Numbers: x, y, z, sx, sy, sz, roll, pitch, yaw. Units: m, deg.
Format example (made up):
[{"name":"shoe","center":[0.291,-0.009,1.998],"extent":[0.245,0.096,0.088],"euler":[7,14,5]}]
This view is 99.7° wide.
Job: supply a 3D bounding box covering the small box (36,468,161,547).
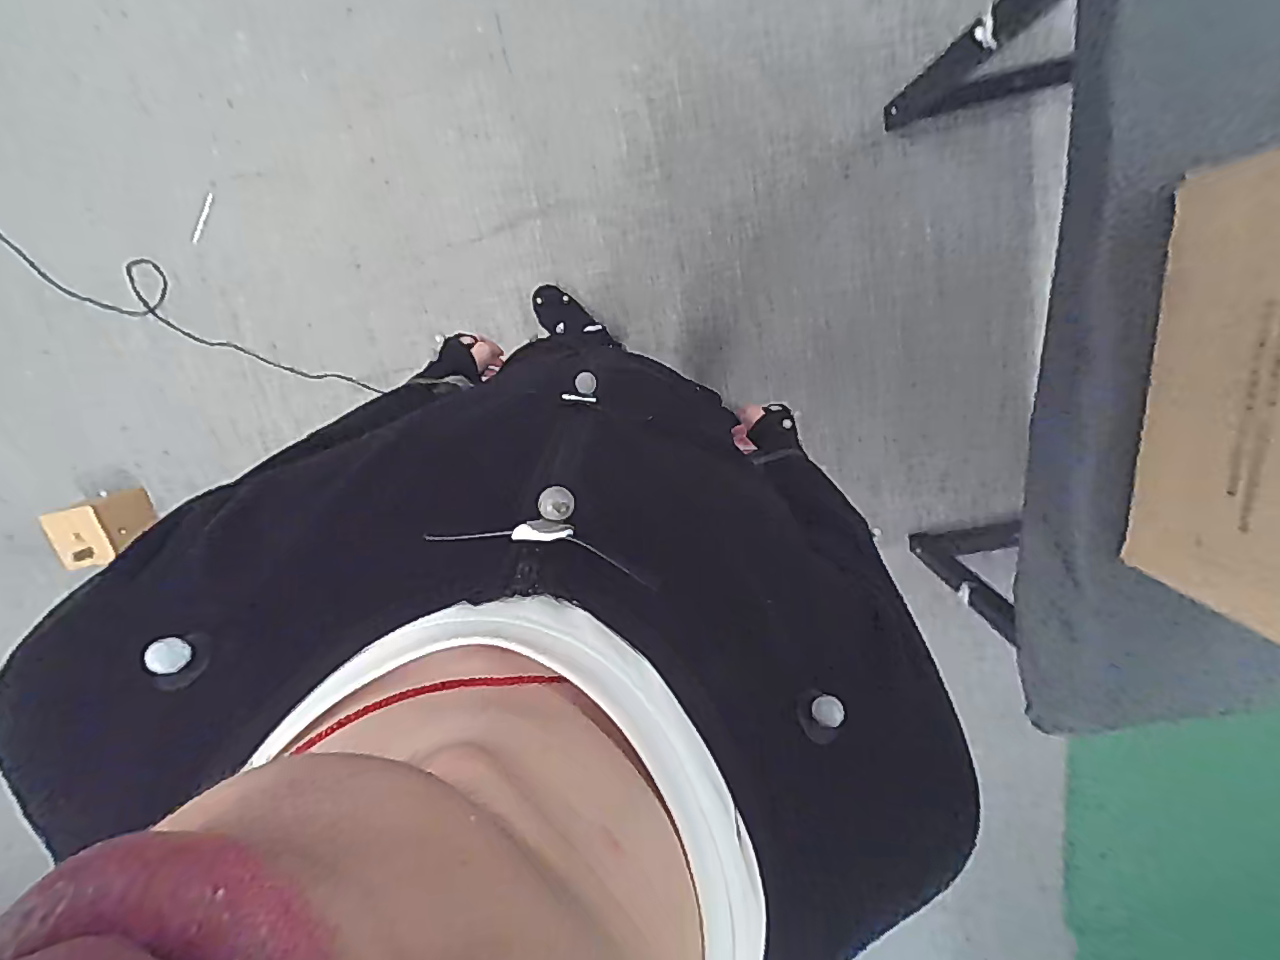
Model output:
[{"name":"small box","center":[-1.580,0.078,1.593],"extent":[0.168,0.176,0.179],"euler":[-7,108,2]}]
